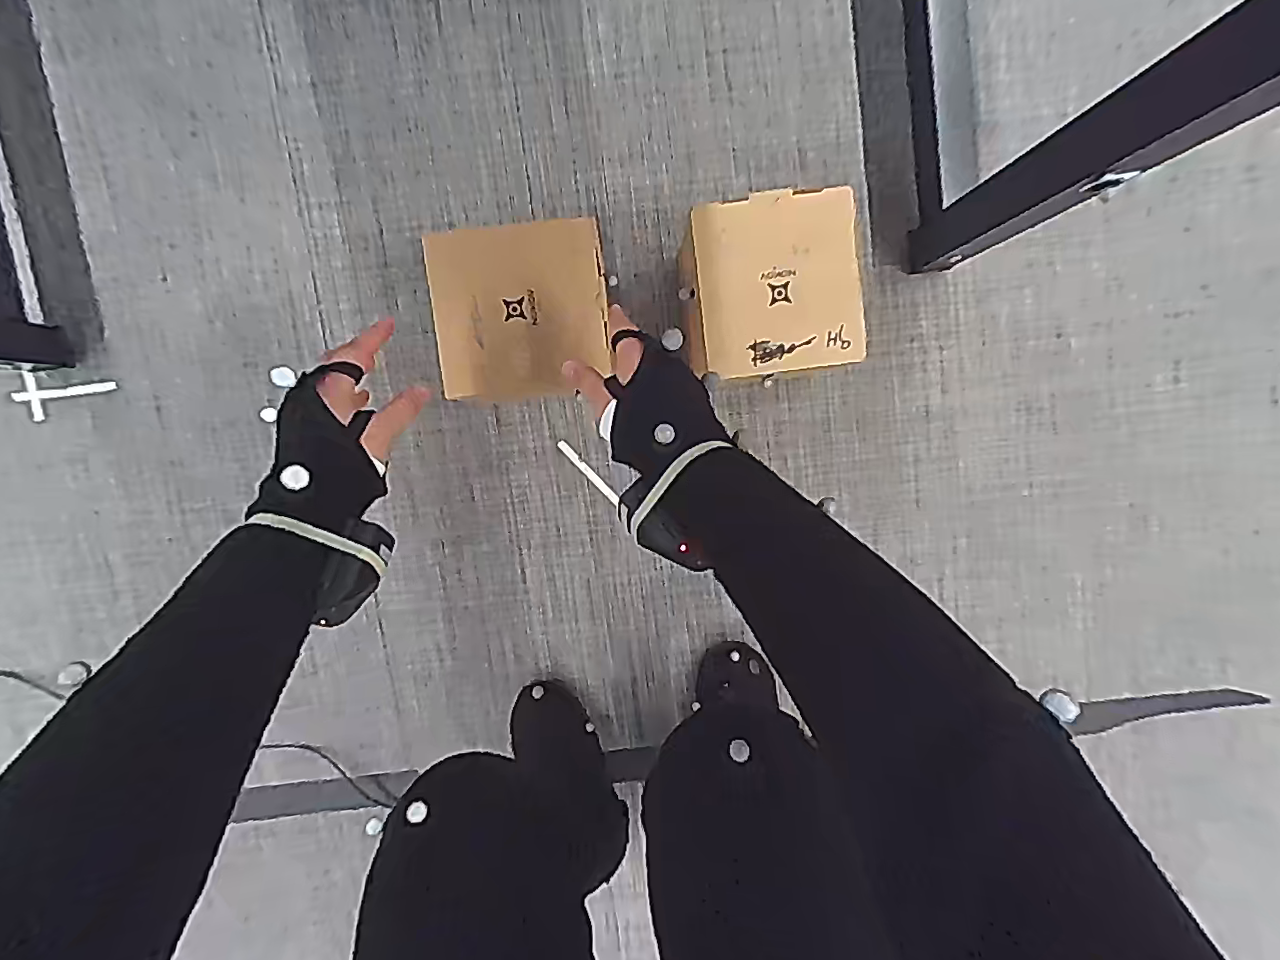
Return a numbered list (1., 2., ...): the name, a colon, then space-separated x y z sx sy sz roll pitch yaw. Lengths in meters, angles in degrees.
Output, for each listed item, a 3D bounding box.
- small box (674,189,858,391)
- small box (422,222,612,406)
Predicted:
1. small box: 0.134 -0.206 0.632 0.168 0.176 0.179 -8 95 1
2. small box: -0.128 -0.180 0.634 0.179 0.176 0.168 -7 95 1
